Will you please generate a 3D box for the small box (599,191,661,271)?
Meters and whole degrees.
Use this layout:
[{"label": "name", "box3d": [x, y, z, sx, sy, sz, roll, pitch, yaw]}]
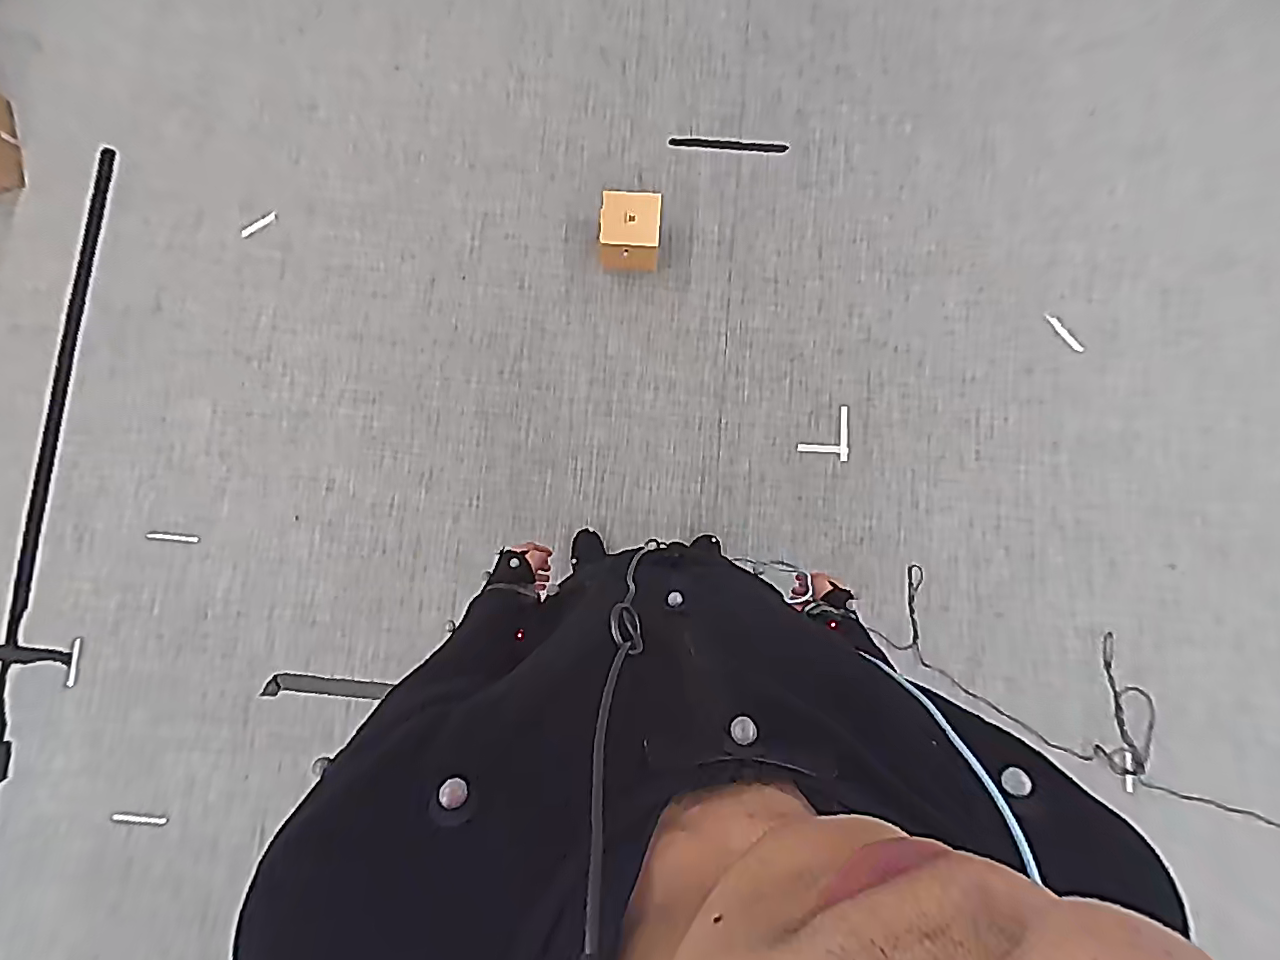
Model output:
[{"label": "small box", "box3d": [-0.029, -0.761, 1.667, 0.179, 0.176, 0.168, 3, 85, 1]}]
